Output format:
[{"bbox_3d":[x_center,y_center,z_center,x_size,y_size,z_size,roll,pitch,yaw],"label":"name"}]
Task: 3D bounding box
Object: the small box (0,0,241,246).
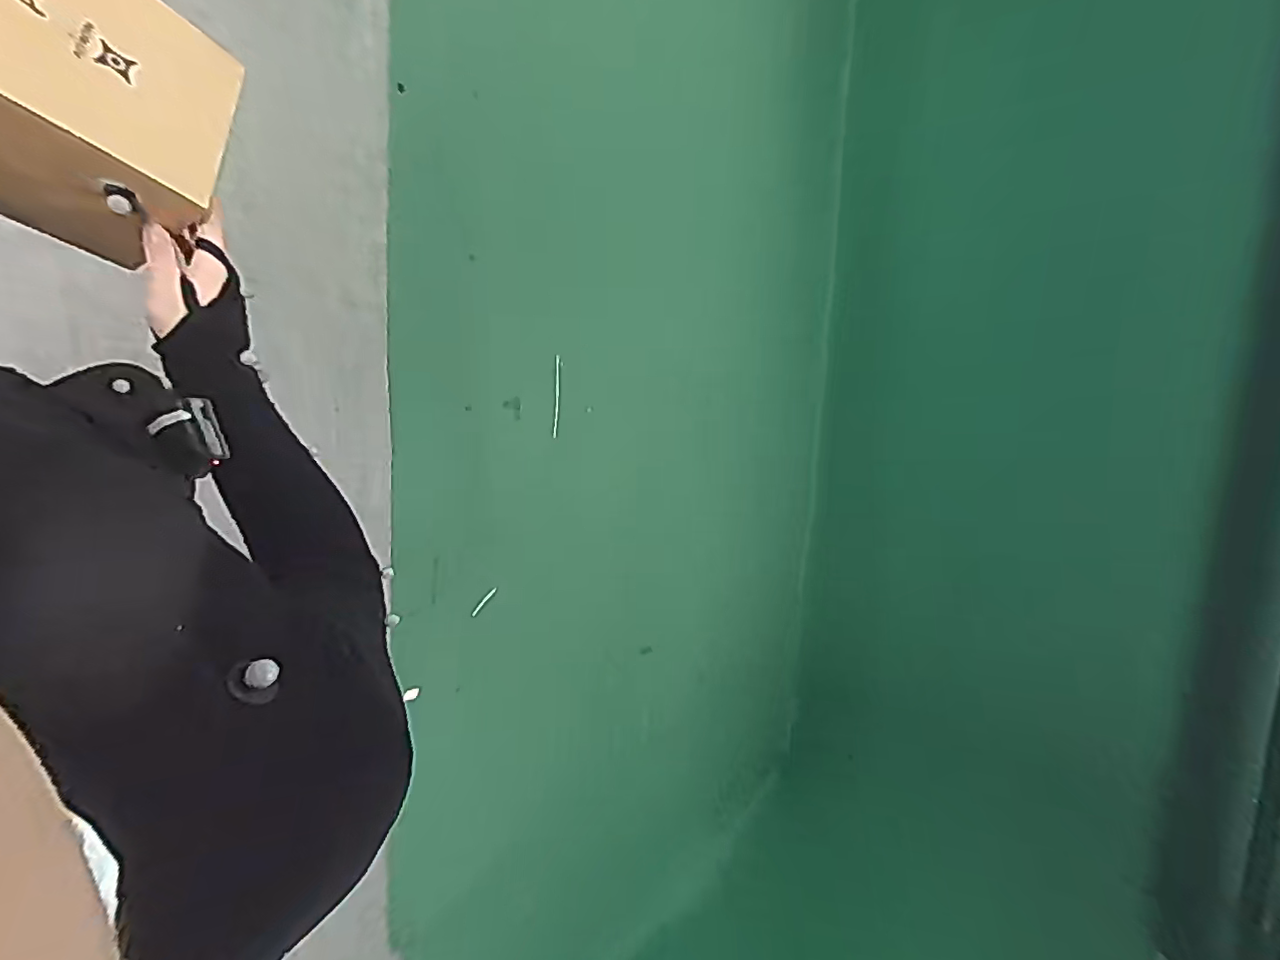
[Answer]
[{"bbox_3d":[-0.489,-0.327,0.455,0.179,0.176,0.168,25,61,-56],"label":"small box"}]
